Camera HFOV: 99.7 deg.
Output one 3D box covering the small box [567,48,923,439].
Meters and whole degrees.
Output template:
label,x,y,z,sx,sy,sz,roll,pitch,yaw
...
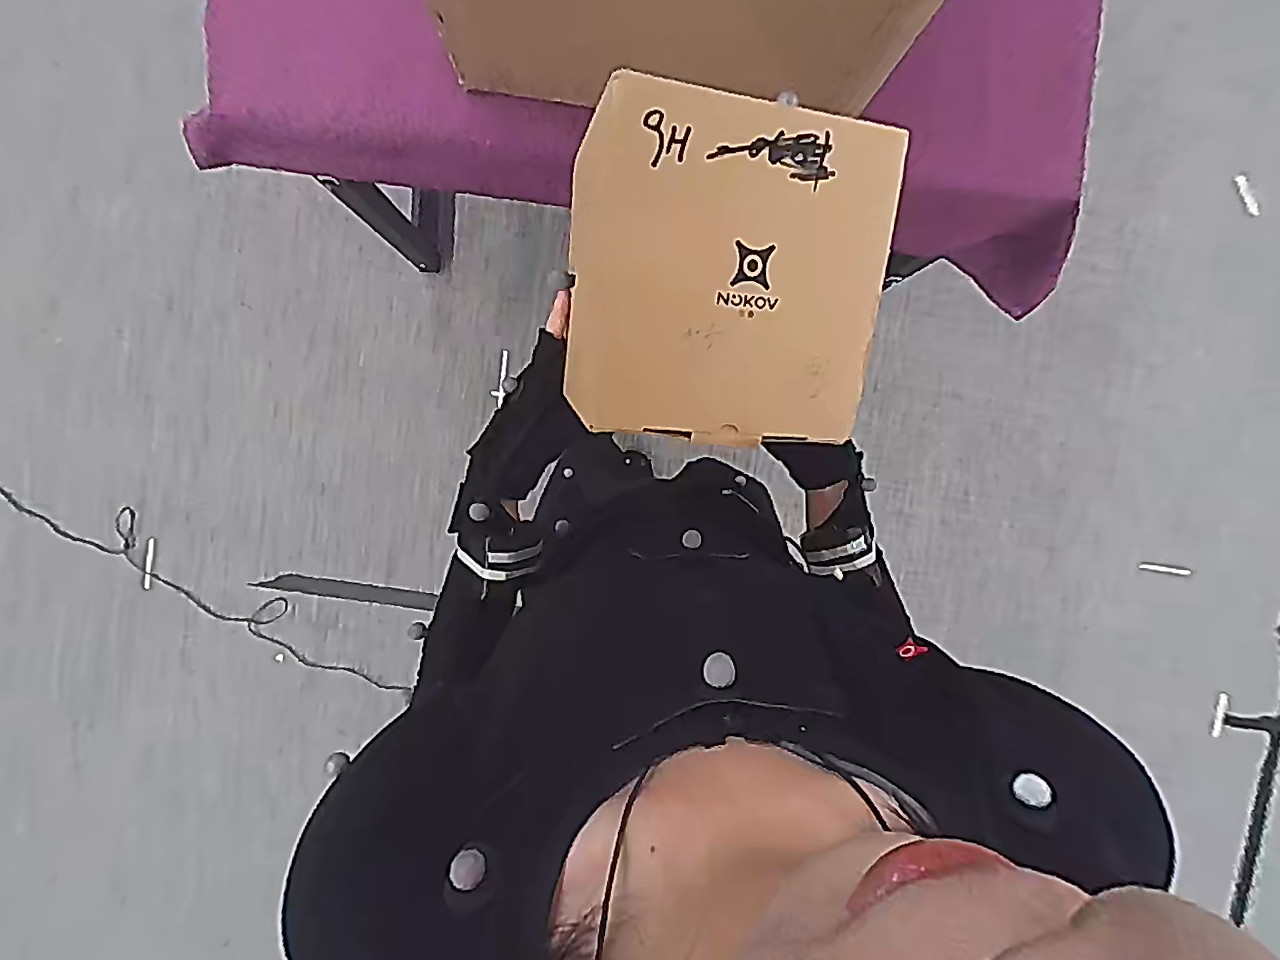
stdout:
label,x,y,z,sx,sy,sz,roll,pitch,yaw
small box,0.044,-0.135,0.362,0.168,0.176,0.179,2,106,-14
